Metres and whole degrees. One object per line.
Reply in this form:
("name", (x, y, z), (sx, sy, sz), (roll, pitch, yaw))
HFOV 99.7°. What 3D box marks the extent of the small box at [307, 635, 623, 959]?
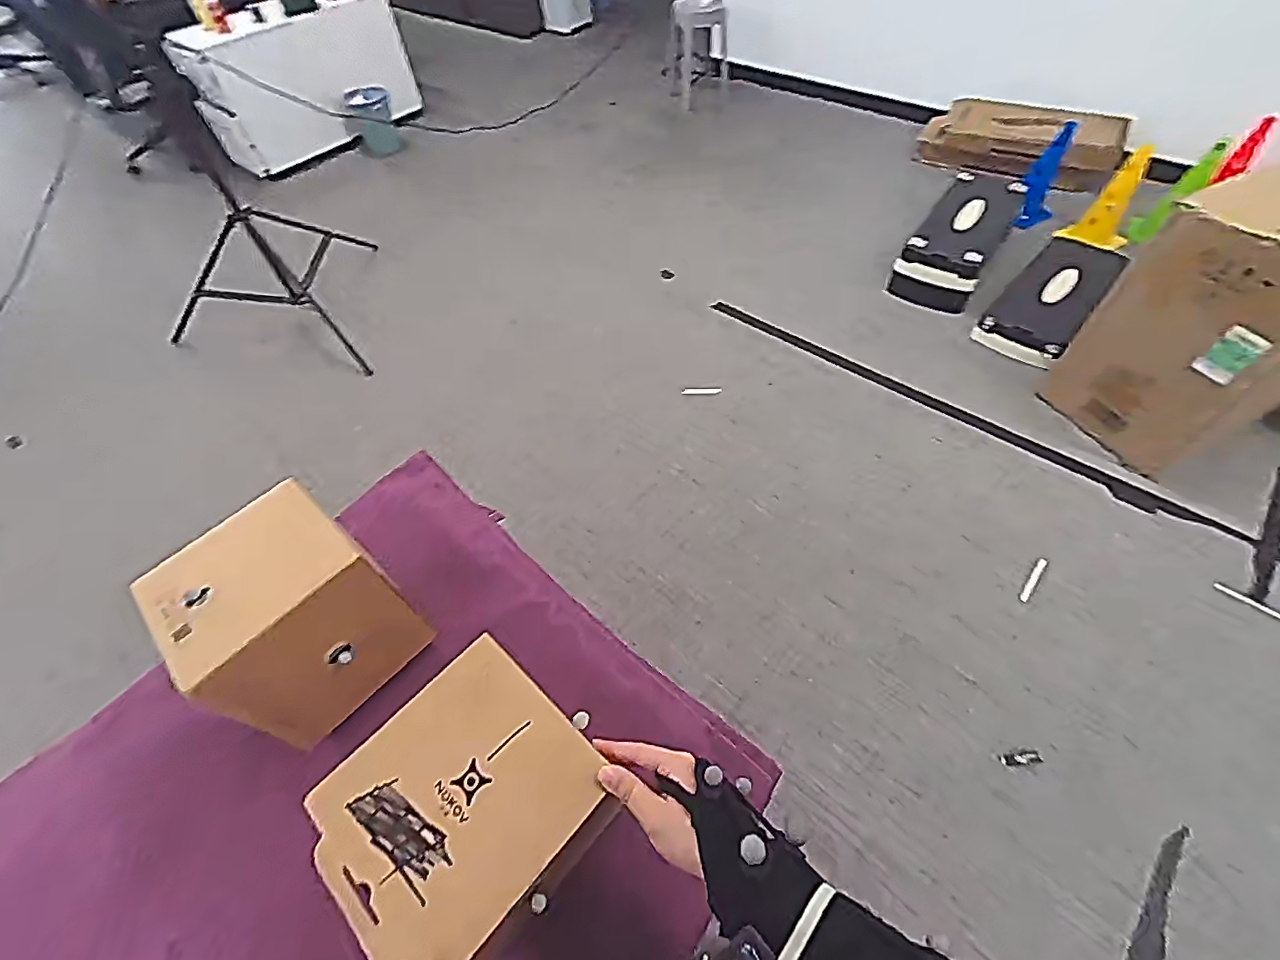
("small box", (-0.128, 0.275, 0.465), (0.168, 0.176, 0.179), (37, 64, 24))
